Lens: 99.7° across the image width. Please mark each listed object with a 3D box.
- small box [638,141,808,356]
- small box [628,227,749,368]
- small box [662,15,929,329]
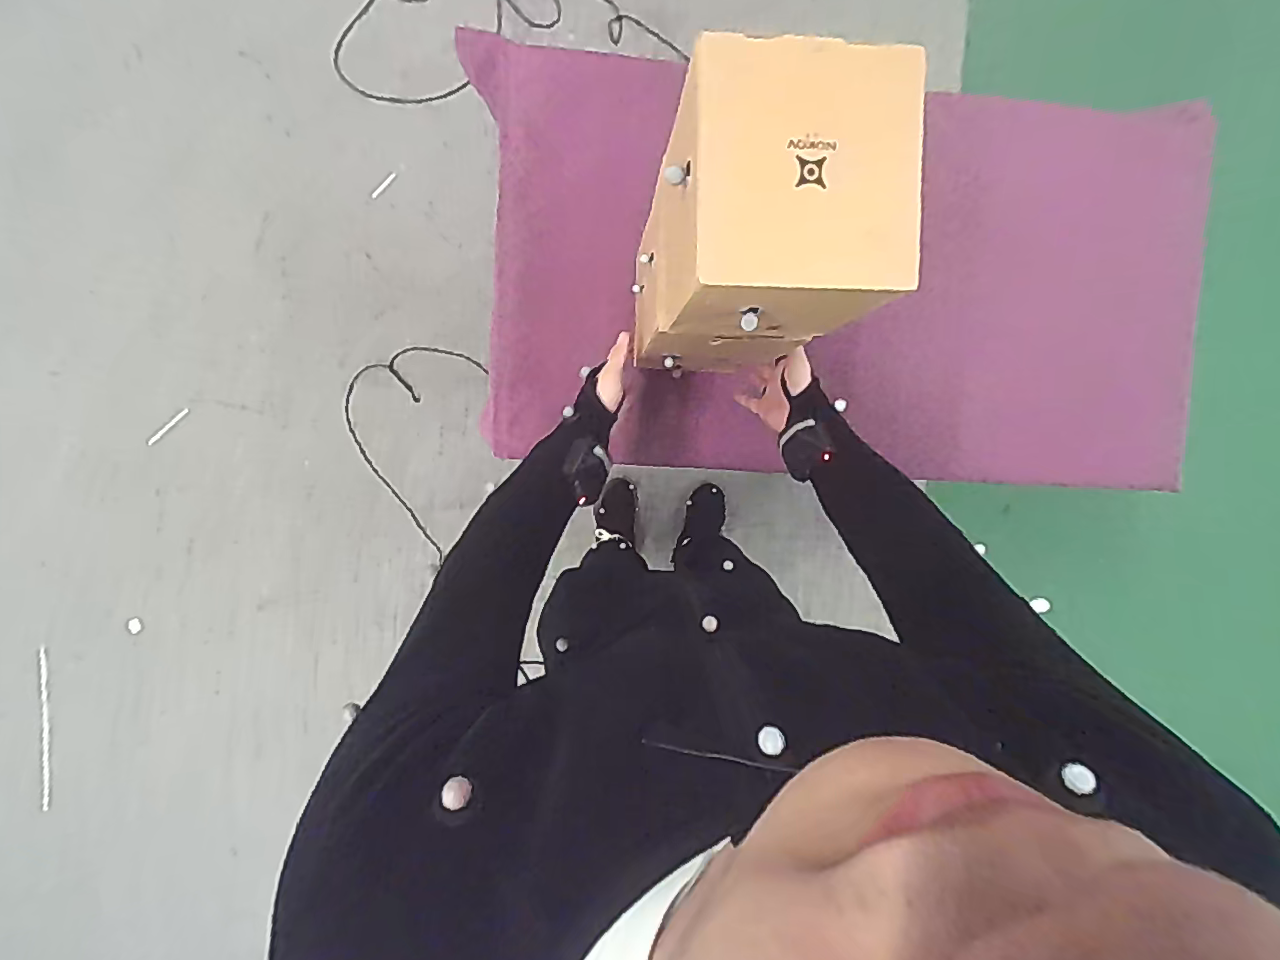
[{"bbox_3d":[0.089,-0.242,0.612,0.168,0.176,0.179,2,93,-6],"label":"small box"},{"bbox_3d":[0.073,-0.263,0.774,0.168,0.176,0.179,2,94,-6],"label":"small box"},{"bbox_3d":[0.111,-0.229,0.452,0.168,0.176,0.179,0,93,-5],"label":"small box"}]
